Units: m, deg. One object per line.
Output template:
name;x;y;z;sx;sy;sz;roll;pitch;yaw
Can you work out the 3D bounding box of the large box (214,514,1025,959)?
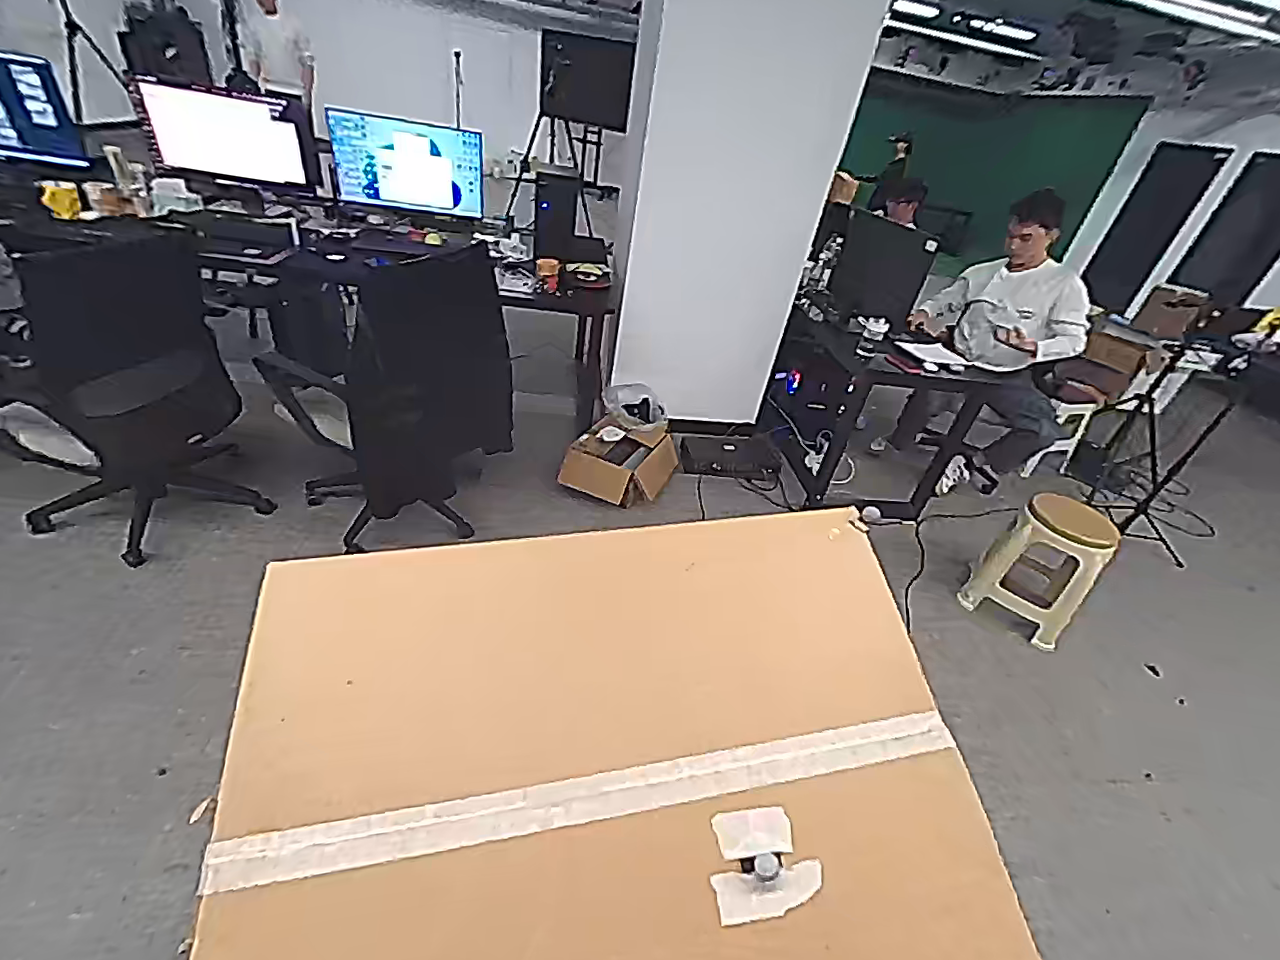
large box;-0.030;0.253;0.431;0.408;0.320;0.320;-5;61;-12
